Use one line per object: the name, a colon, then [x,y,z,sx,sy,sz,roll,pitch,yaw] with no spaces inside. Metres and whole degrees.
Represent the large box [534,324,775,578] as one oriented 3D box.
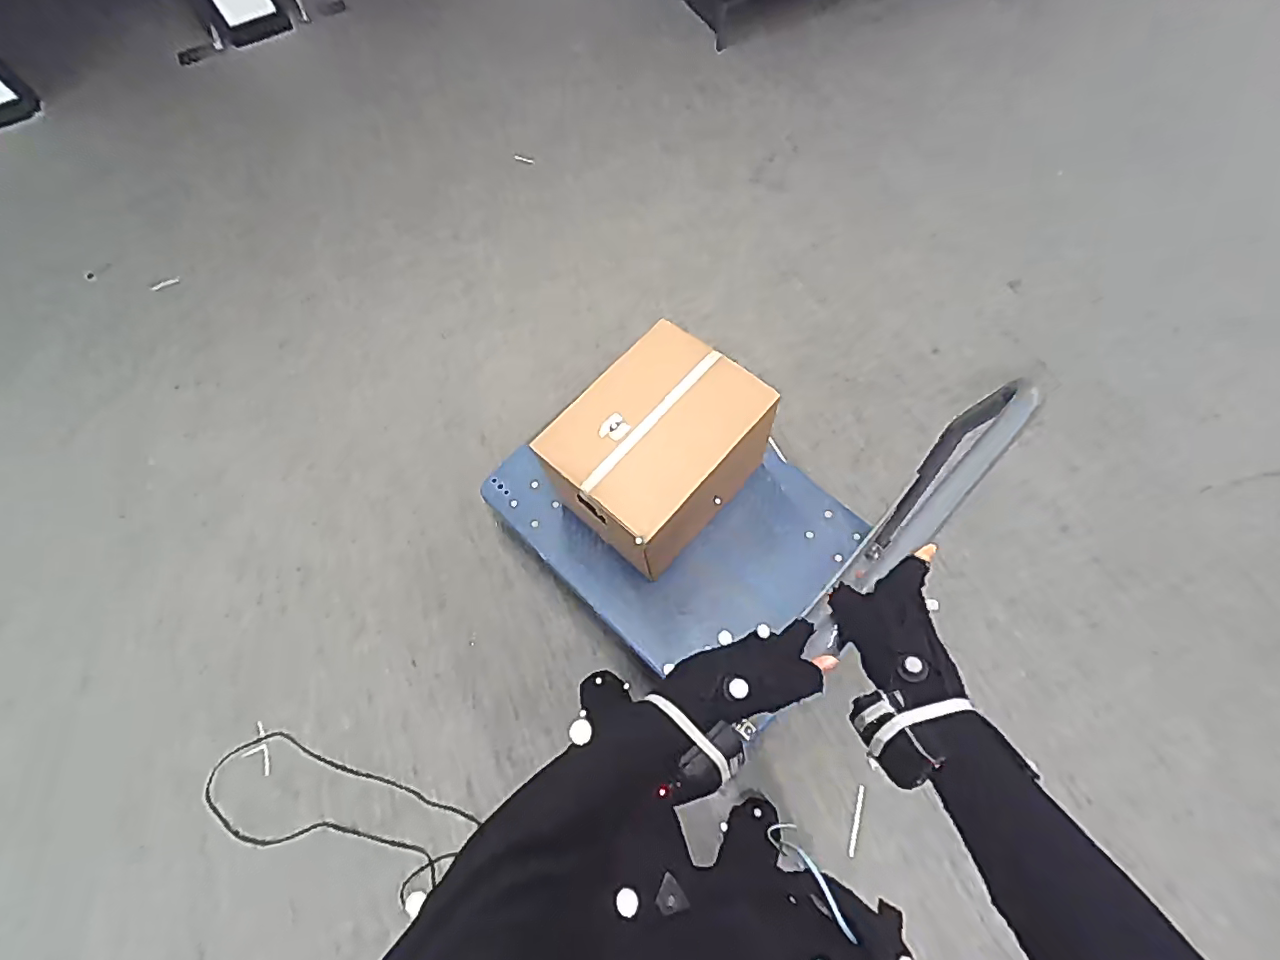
large box: [0.043,-0.054,1.204,0.320,0.320,0.408,38,76,20]
